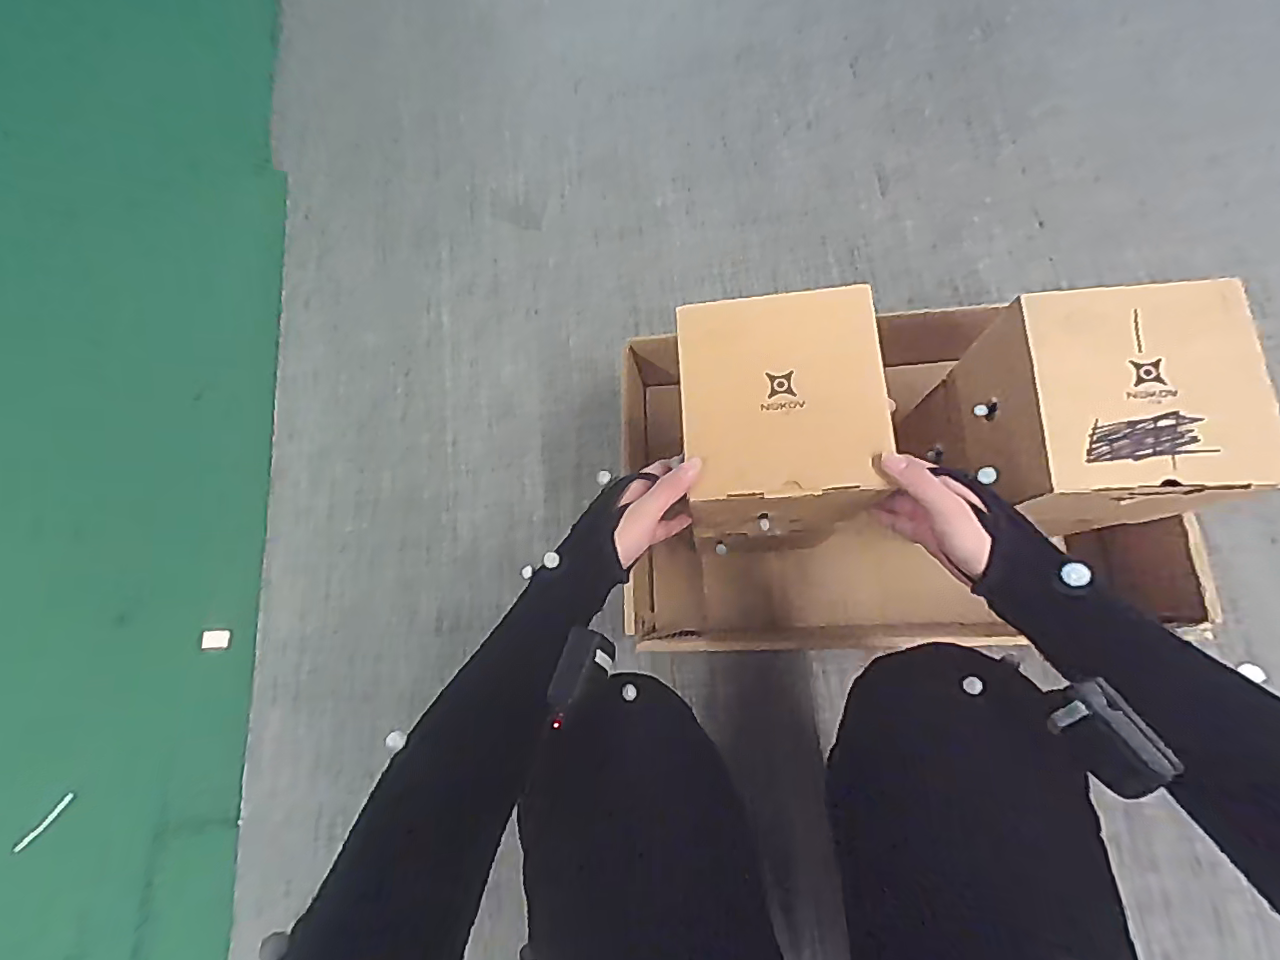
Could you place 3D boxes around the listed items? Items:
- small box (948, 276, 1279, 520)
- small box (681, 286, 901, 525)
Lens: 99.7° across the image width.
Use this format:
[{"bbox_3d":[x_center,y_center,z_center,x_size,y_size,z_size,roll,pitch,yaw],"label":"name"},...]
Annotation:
[{"bbox_3d":[0.412,-0.059,0.502,0.168,0.176,0.179,-1,75,9],"label":"small box"},{"bbox_3d":[0.125,-0.057,0.518,0.168,0.176,0.179,-4,78,6],"label":"small box"}]
